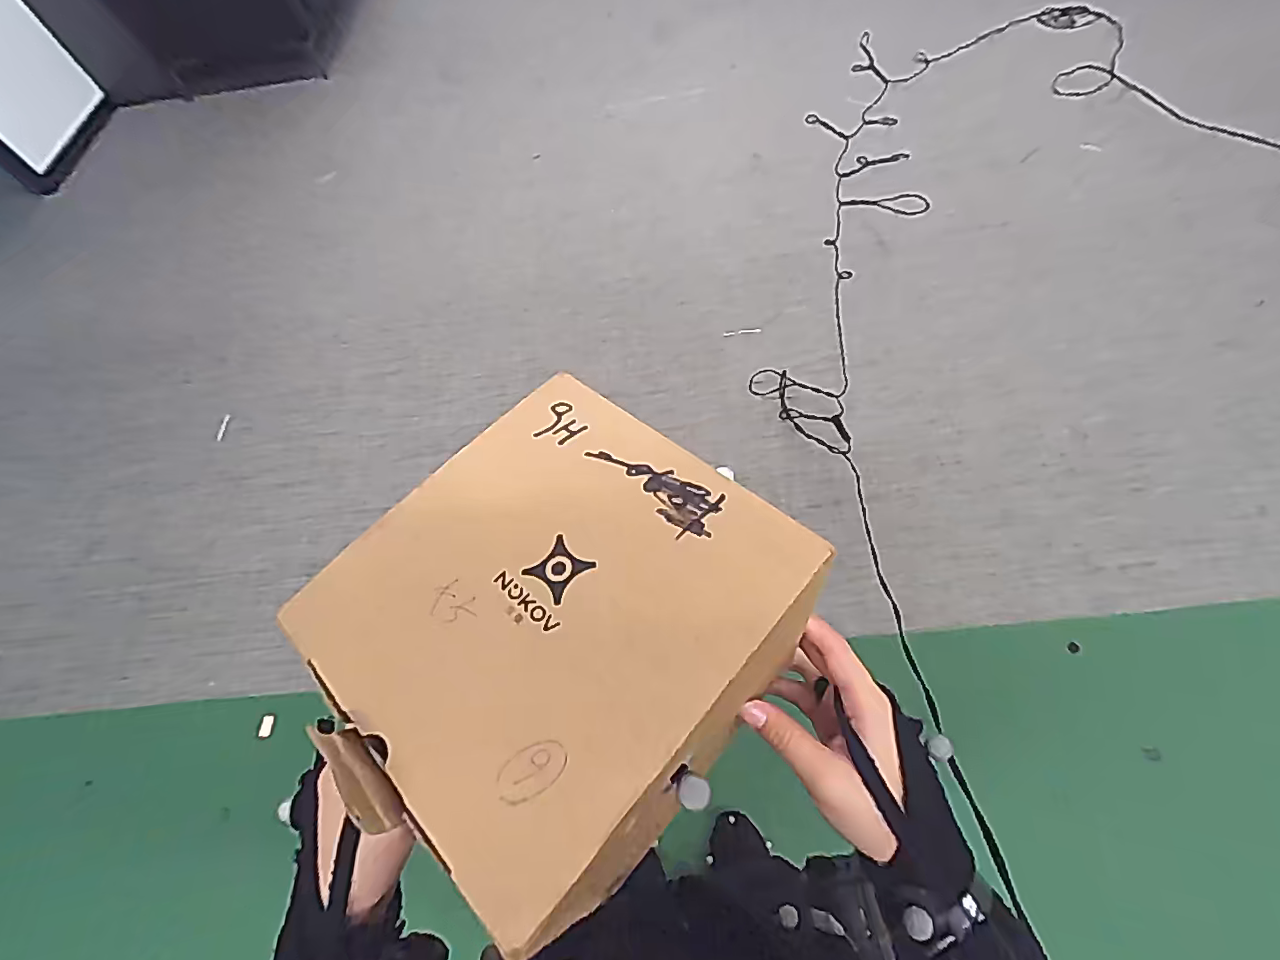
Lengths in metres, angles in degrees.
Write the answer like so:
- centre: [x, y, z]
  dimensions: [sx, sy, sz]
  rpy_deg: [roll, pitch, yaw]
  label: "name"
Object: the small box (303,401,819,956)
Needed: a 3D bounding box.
- centre: [-0.026, 0.098, 0.300]
  dimensions: [0.168, 0.176, 0.179]
  rpy_deg: [35, 69, 26]
  label: "small box"
